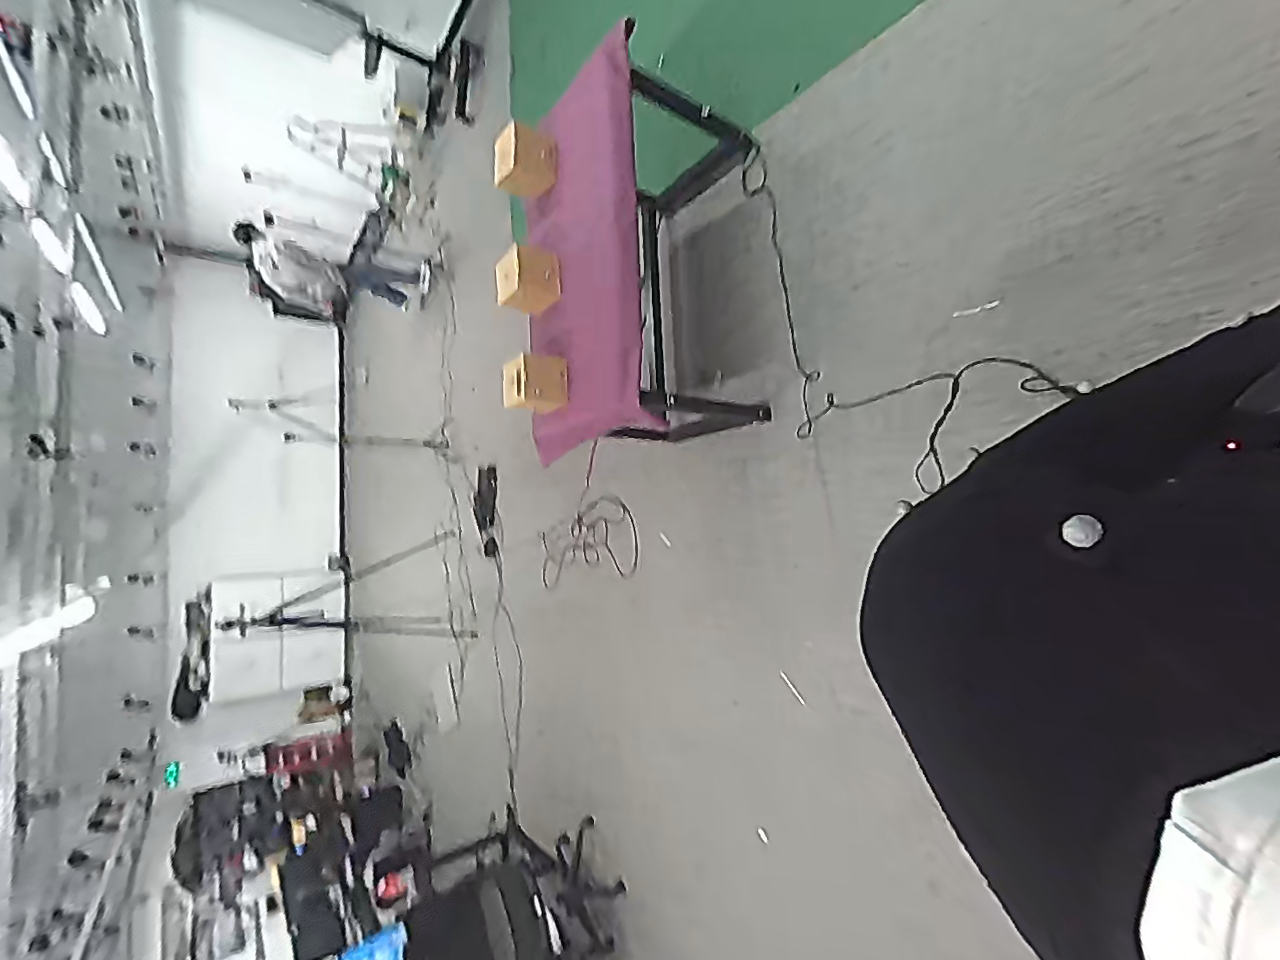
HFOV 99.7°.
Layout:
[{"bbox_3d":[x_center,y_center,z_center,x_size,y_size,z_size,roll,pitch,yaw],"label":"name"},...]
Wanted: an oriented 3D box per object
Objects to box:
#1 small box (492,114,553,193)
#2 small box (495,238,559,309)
[{"bbox_3d":[-0.436,-1.196,1.998,0.179,0.176,0.168,2,93,52],"label":"small box"},{"bbox_3d":[-0.413,-0.745,1.975,0.179,0.176,0.168,-15,78,50],"label":"small box"}]
